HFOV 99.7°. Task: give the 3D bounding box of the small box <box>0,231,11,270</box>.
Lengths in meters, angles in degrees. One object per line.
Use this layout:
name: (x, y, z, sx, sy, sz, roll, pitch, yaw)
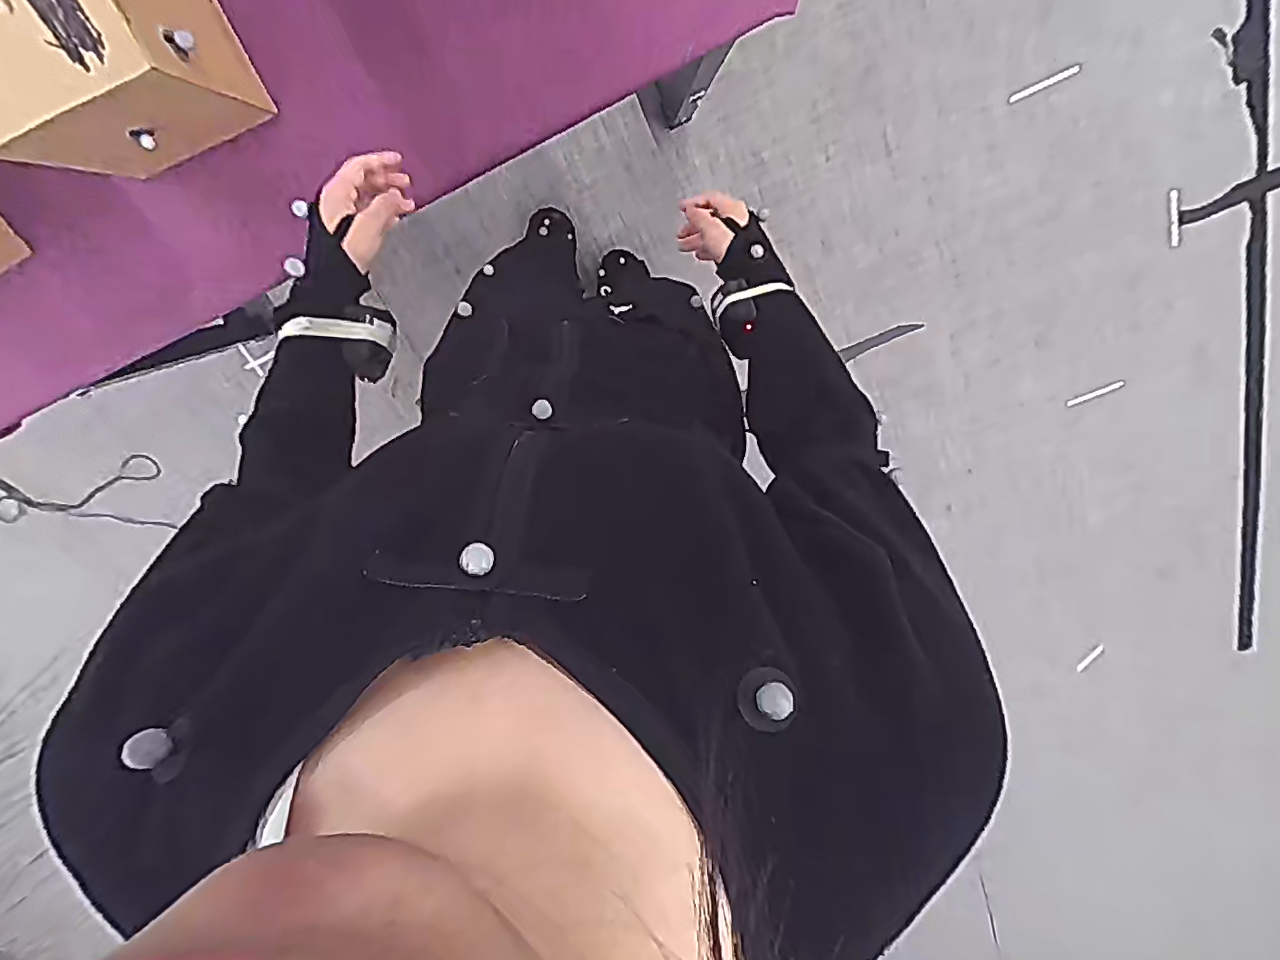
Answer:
small box: (-0.801, -0.259, 0.523, 0.179, 0.176, 0.168, -25, 111, 9)
